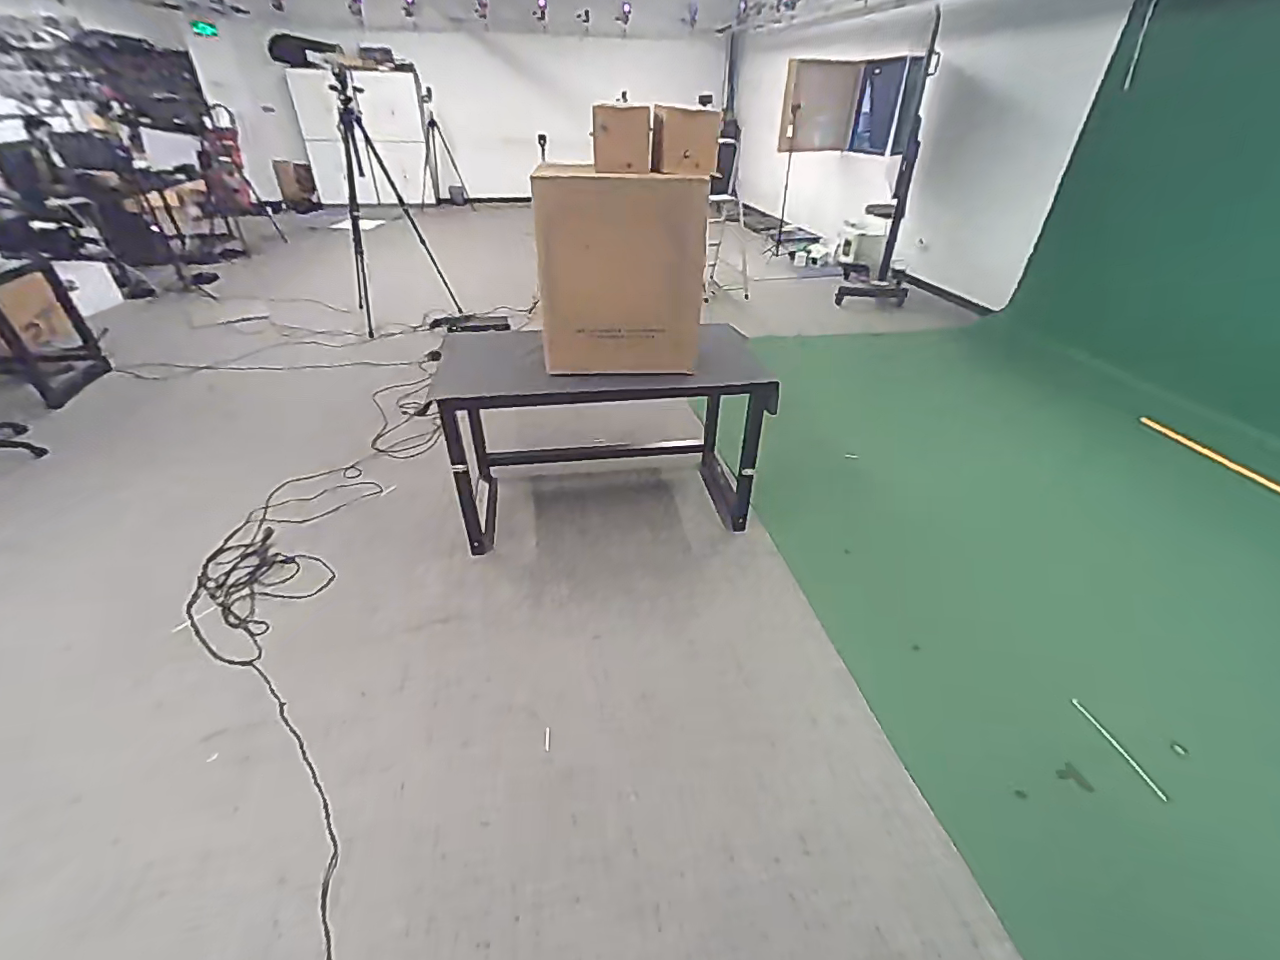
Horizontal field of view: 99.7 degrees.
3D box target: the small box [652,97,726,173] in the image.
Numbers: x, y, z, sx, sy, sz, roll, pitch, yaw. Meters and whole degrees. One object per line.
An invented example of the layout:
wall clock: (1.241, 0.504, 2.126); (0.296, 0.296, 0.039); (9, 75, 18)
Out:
small box: (0.139, -1.038, 1.624); (0.168, 0.176, 0.179); (-5, 39, -13)
